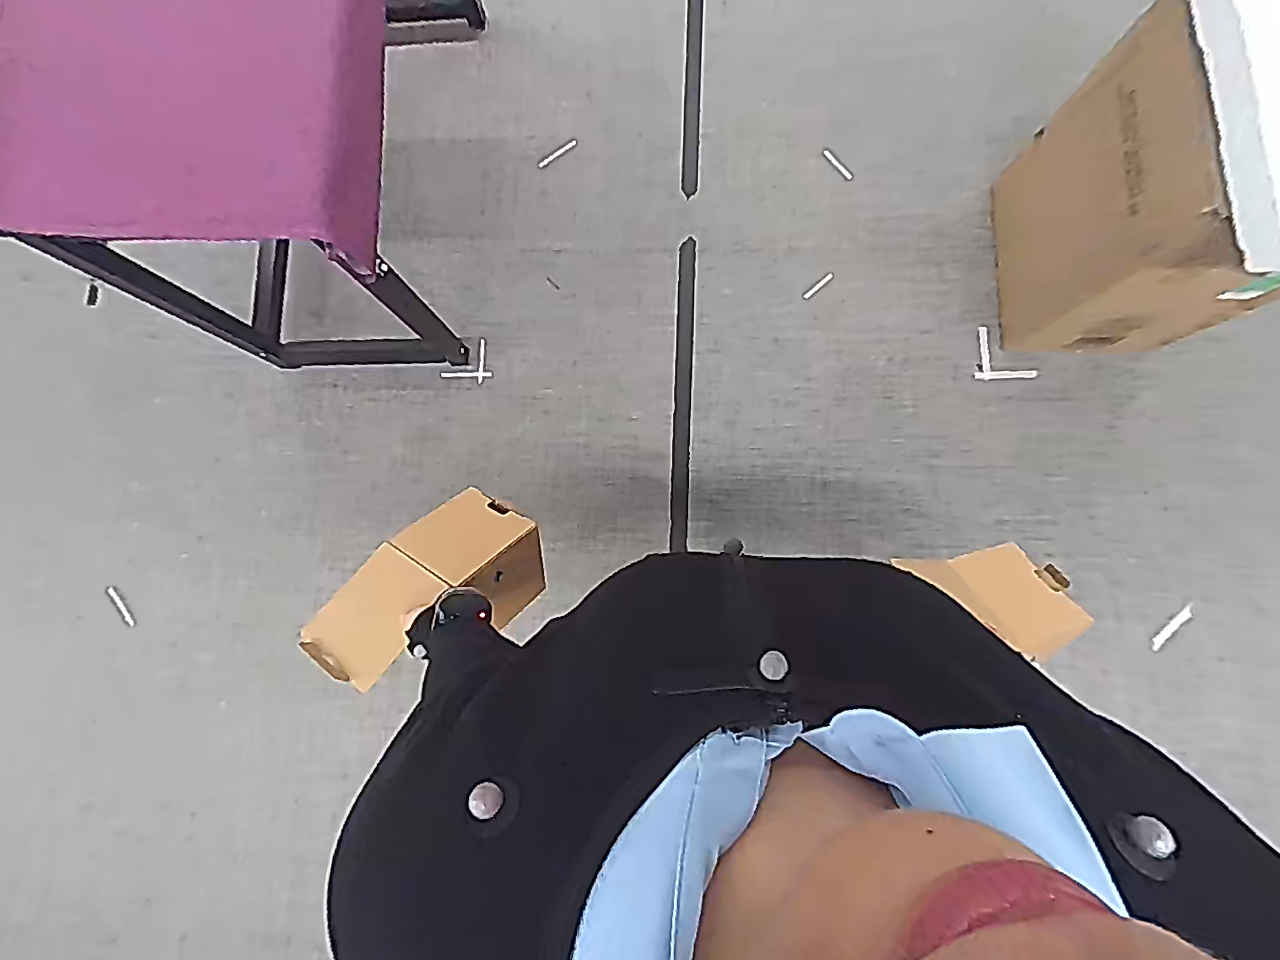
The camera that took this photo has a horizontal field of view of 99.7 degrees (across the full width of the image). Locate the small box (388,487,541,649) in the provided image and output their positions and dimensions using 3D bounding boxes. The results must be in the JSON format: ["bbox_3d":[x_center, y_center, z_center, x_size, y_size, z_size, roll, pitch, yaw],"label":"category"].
[{"bbox_3d":[-0.283,0.148,0.913,0.168,0.176,0.179,26,44,26],"label":"small box"}]
